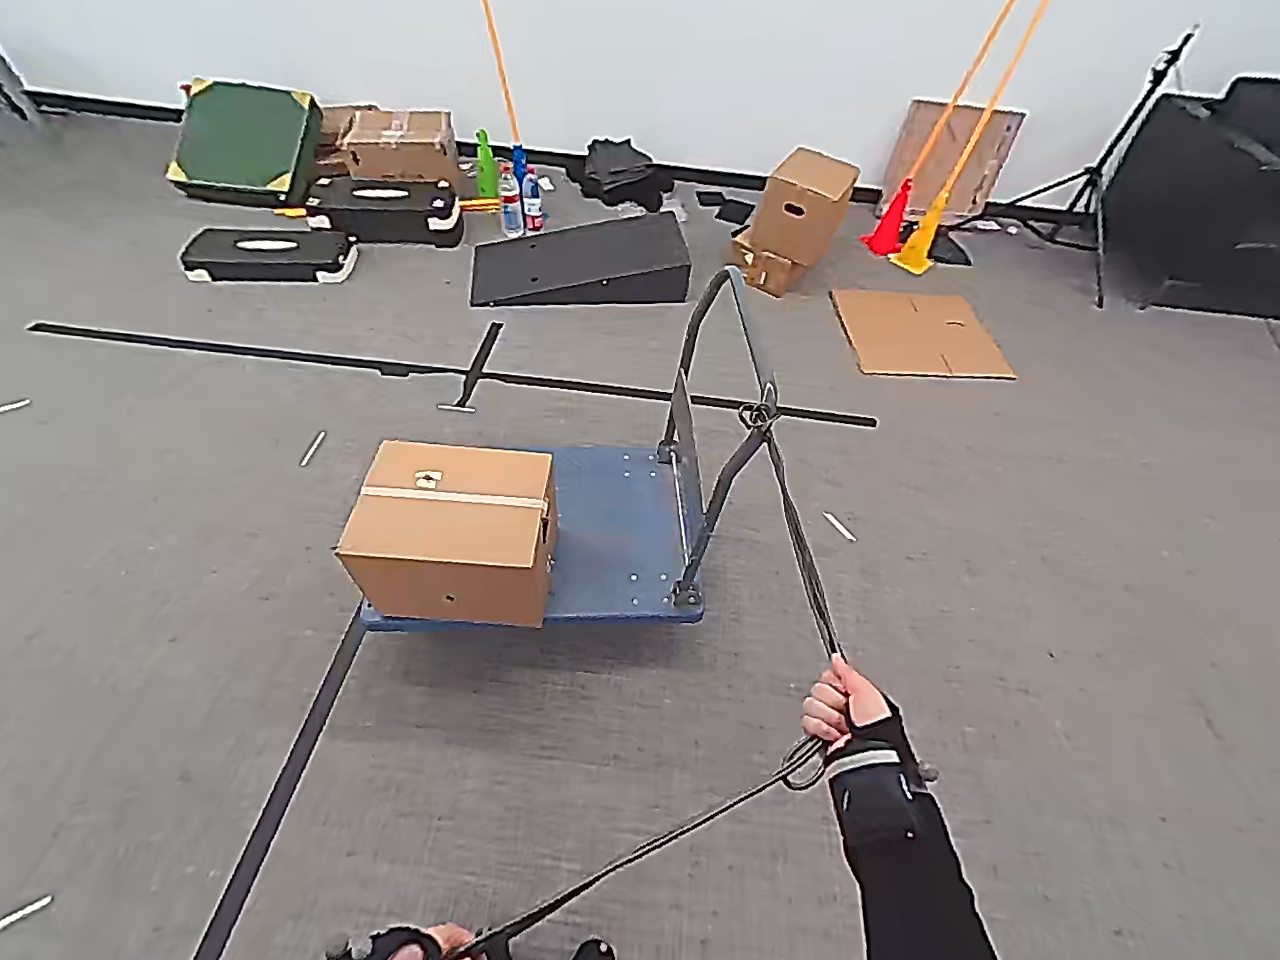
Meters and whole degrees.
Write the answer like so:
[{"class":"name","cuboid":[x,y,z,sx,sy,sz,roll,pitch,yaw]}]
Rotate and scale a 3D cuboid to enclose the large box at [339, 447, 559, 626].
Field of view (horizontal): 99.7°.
[{"class":"large box","cuboid":[-0.417,0.143,1.306,0.408,0.320,0.320,4,51,-2]}]
